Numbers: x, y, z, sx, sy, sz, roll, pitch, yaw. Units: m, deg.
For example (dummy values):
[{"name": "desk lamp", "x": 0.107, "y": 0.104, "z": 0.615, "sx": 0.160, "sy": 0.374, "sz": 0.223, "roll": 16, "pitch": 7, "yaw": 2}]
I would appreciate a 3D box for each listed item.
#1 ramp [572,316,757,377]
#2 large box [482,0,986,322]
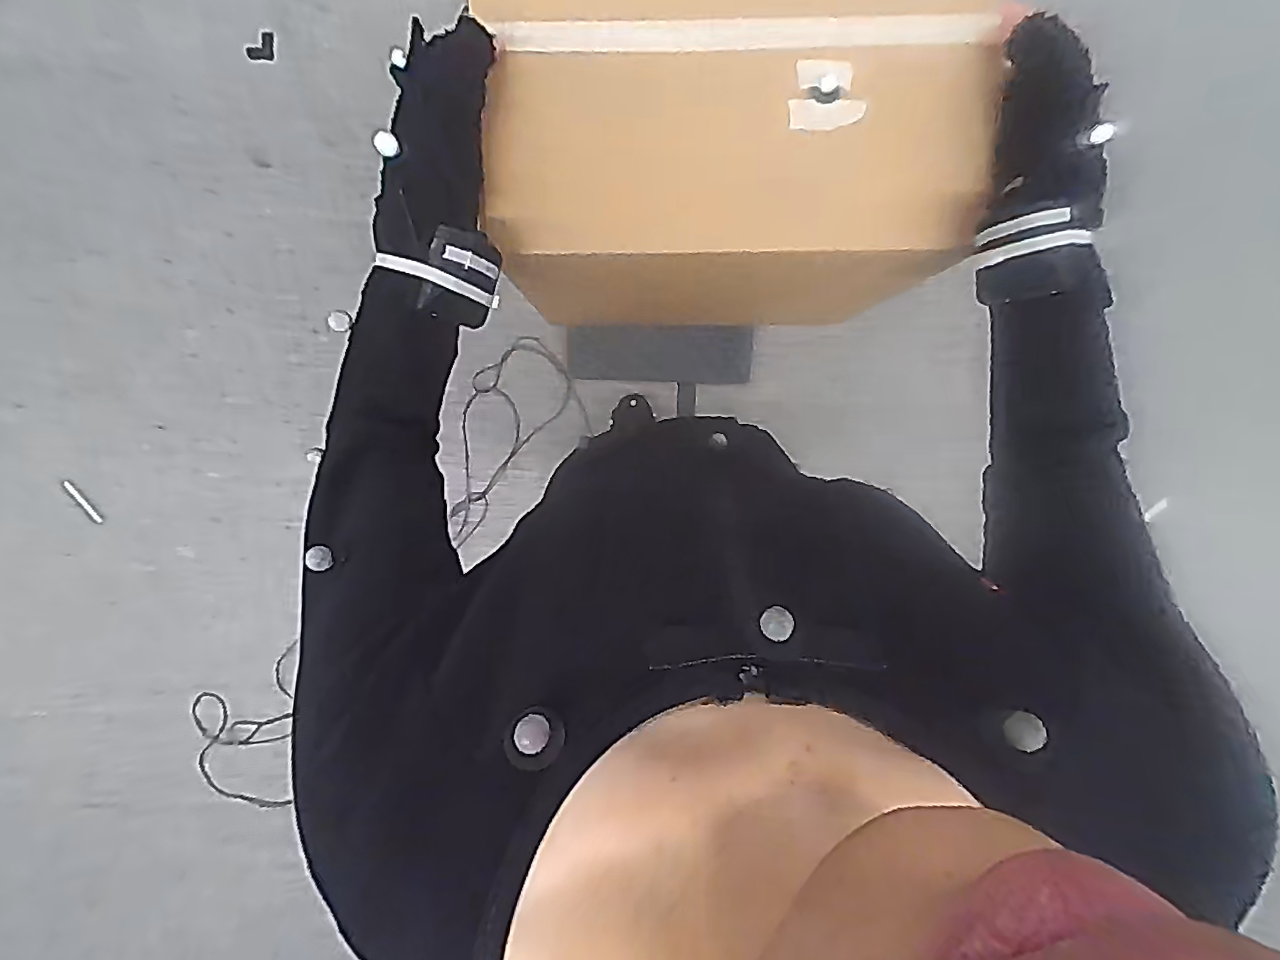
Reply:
[{"name": "ramp", "x": 0.073, "y": -0.765, "z": 1.338, "sx": 0.509, "sy": 0.206, "sz": 0.991, "roll": -1, "pitch": 94, "yaw": -2}, {"name": "large box", "x": 0.072, "y": -0.360, "z": 0.577, "sx": 0.408, "sy": 0.320, "sz": 0.320, "roll": -1, "pitch": 96, "yaw": 0}]
